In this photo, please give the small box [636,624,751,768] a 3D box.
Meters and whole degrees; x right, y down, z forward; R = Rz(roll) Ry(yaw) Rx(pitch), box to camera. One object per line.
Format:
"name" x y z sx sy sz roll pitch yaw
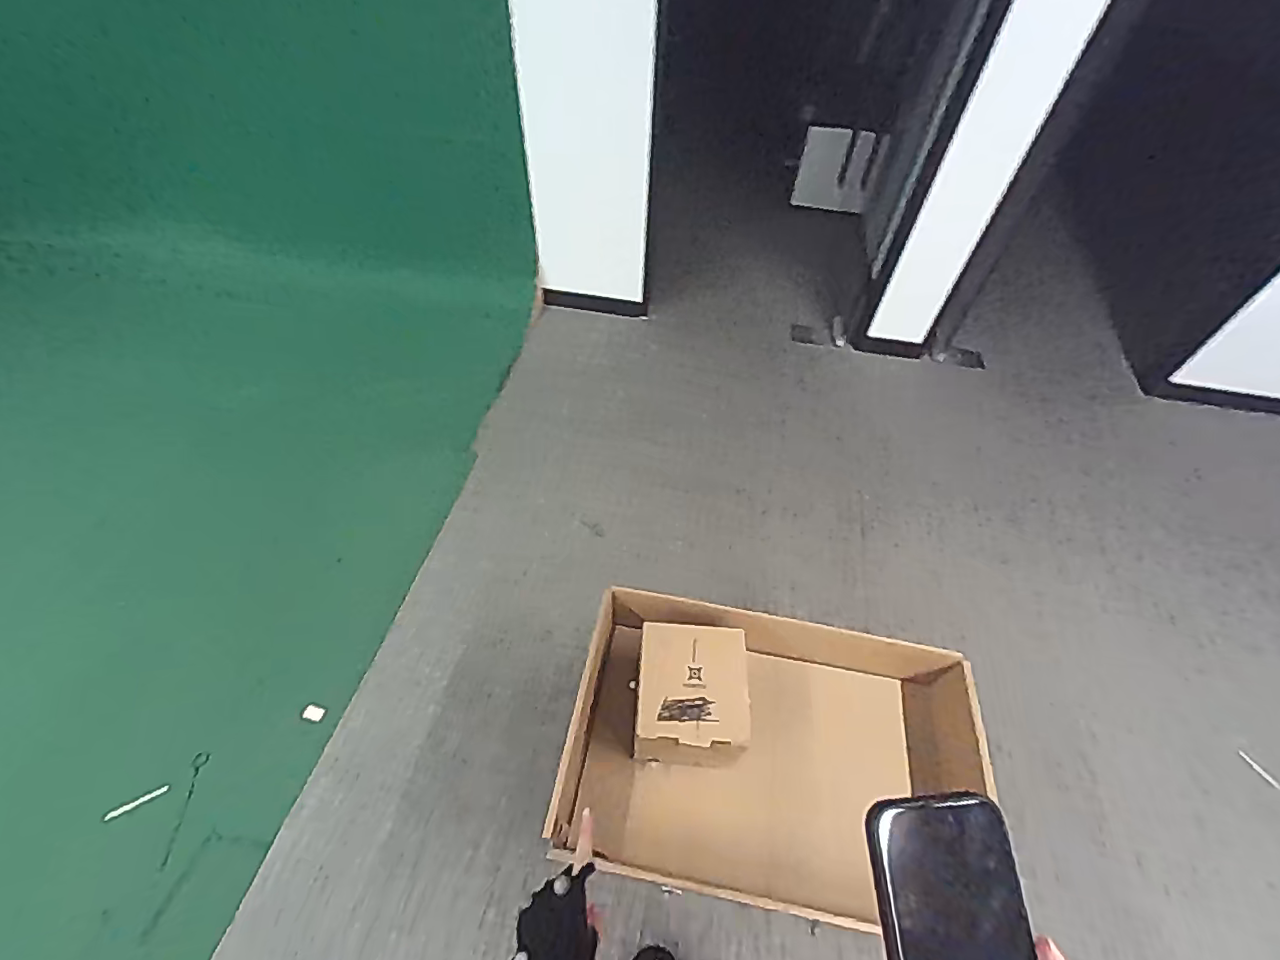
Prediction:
"small box" 0.081 0.355 0.878 0.168 0.176 0.179 4 51 0
